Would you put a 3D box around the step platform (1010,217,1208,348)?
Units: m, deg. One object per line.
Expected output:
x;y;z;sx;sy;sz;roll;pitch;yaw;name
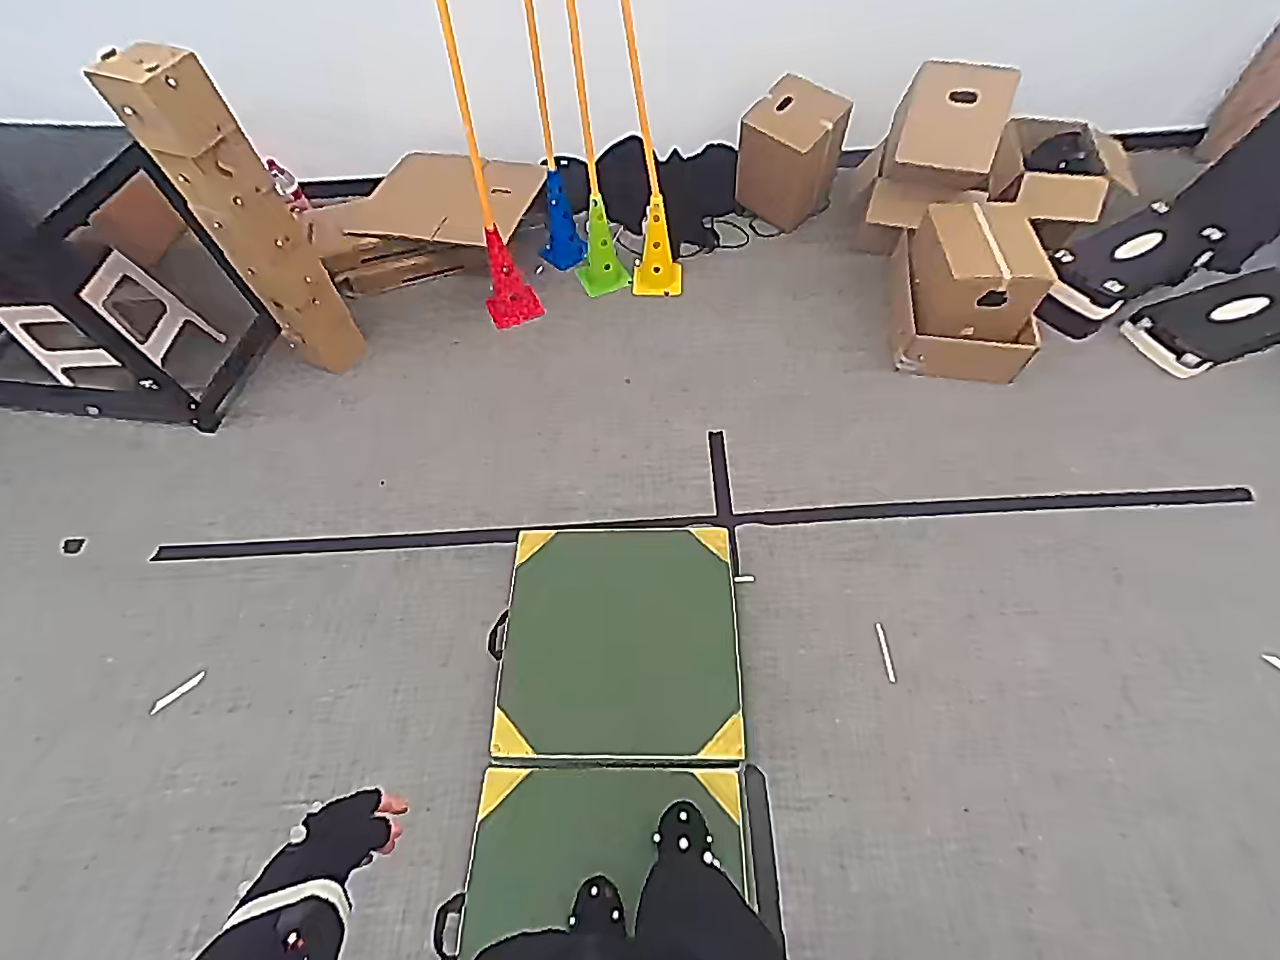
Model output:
1.795;-0.768;2.075;0.684;0.204;0.286;-27;61;-14;step platform
